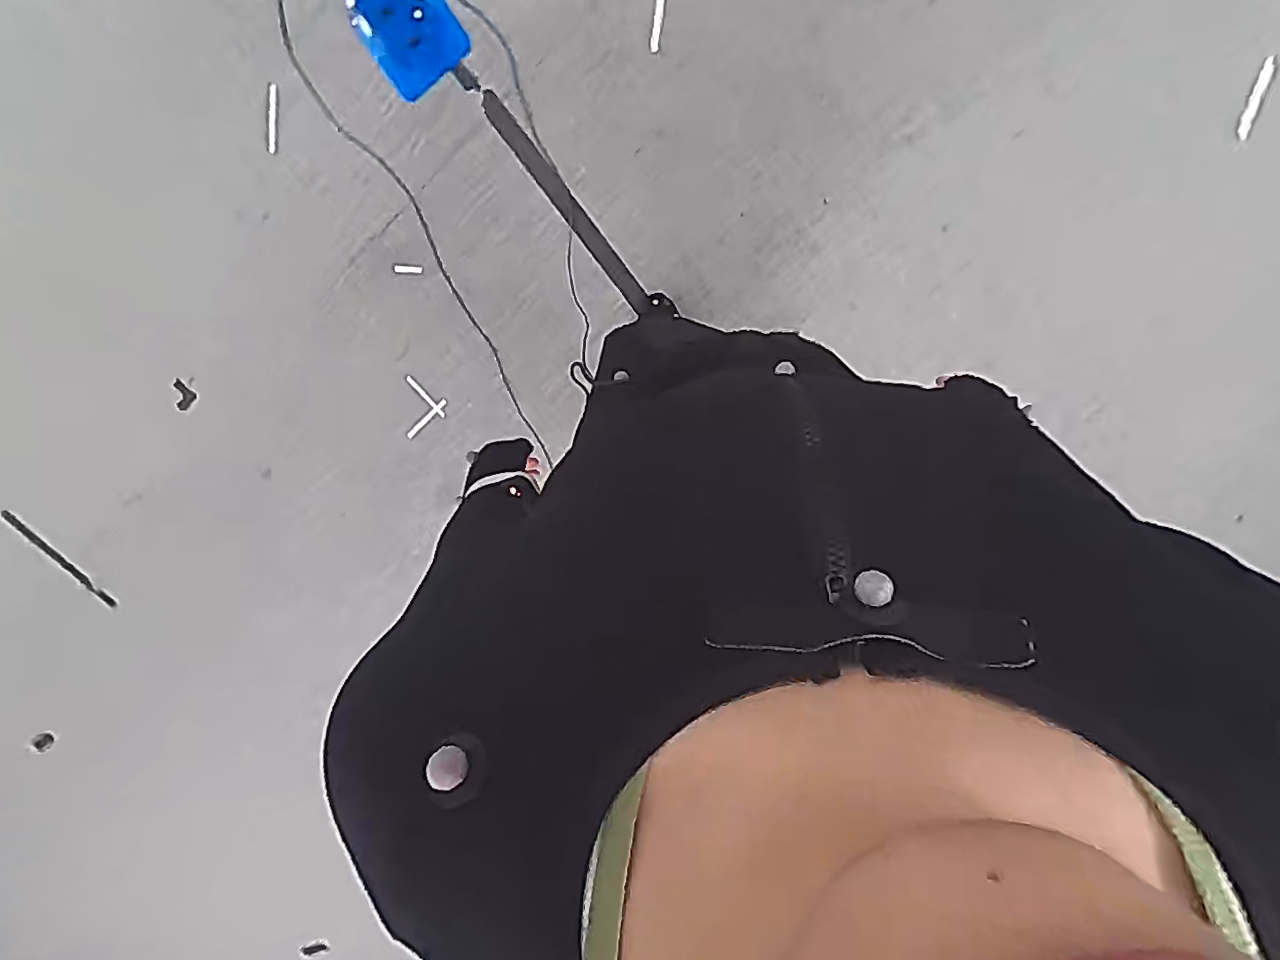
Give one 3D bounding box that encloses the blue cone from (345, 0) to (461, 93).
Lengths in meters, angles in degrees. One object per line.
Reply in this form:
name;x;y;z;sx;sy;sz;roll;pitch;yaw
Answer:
blue cone;-0.503;-0.912;1.007;0.193;0.380;0.192;-34;106;13
